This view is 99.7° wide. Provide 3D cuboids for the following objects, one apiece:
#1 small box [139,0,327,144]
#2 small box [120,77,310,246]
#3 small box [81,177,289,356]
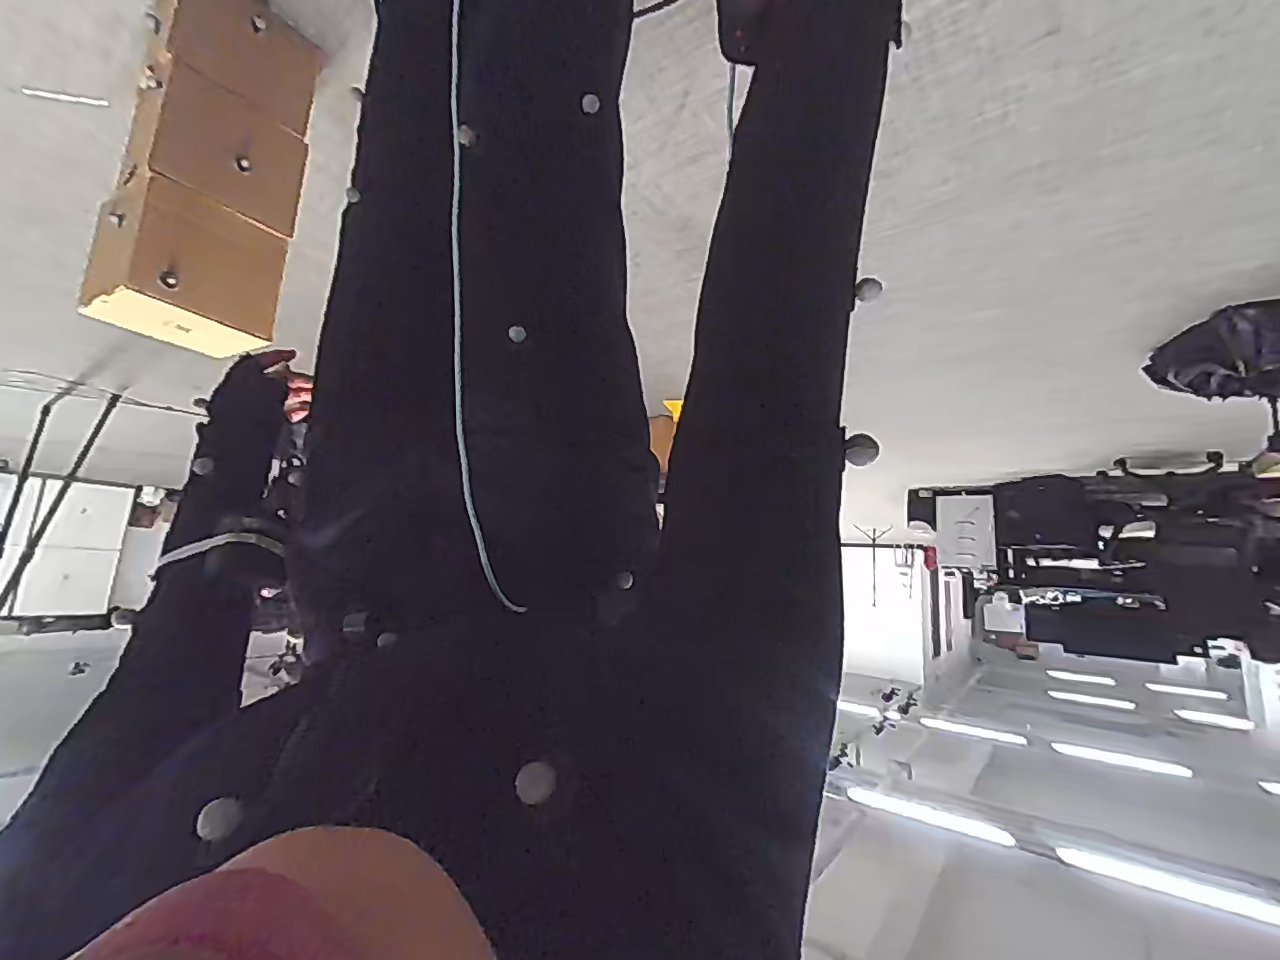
[{"bbox_3d":[-0.626,-0.627,0.841,0.168,0.176,0.179,0,169,37],"label":"small box"},{"bbox_3d":[-0.638,-0.462,0.820,0.168,0.176,0.179,-2,169,33],"label":"small box"},{"bbox_3d":[-0.657,-0.302,0.796,0.168,0.176,0.179,-1,168,29],"label":"small box"}]
